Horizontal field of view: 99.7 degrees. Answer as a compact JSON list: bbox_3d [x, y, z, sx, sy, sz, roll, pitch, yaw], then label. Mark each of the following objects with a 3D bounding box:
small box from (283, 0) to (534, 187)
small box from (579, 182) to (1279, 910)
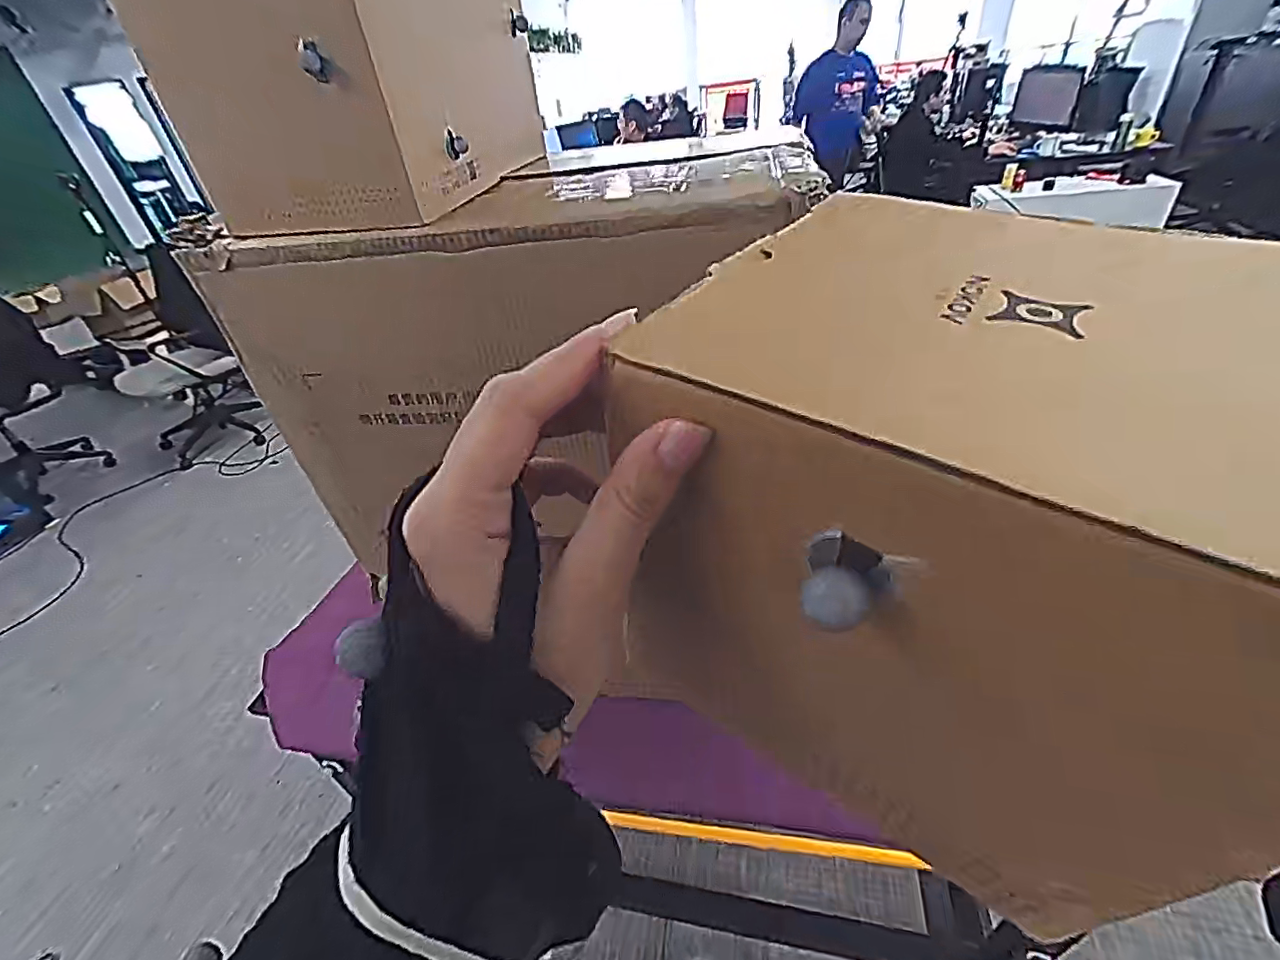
[{"bbox_3d":[-0.224,-0.418,0.573,0.168,0.176,0.179,1,37,11],"label":"small box"},{"bbox_3d":[0.104,0.012,0.199,0.179,0.176,0.168,24,49,28],"label":"small box"}]
